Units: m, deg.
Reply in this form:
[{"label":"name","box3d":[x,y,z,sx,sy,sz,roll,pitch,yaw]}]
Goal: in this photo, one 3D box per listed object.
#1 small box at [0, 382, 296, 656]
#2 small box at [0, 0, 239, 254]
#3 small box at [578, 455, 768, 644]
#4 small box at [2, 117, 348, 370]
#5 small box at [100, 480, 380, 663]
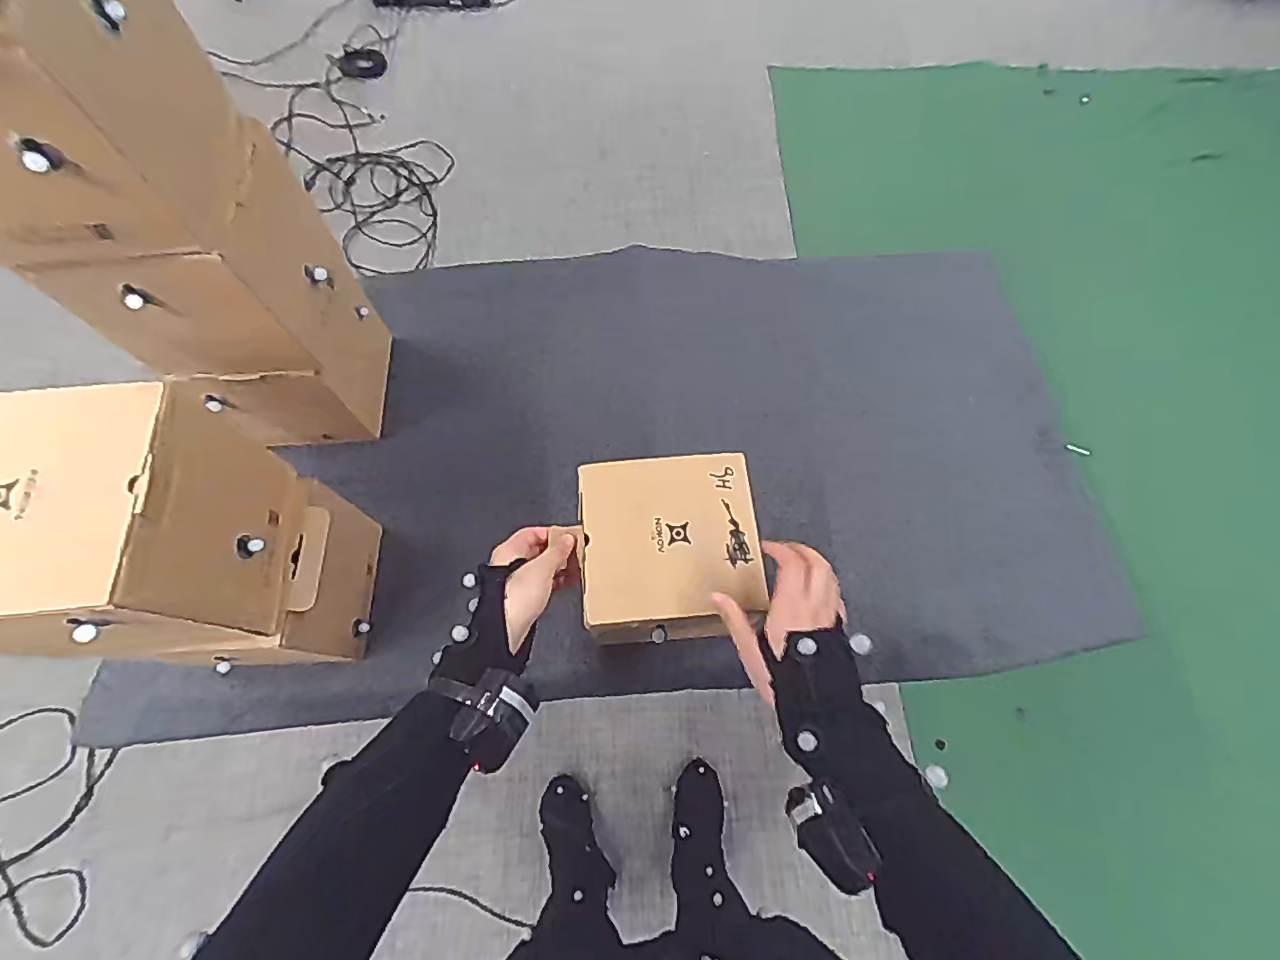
[{"label":"small box","box3d":[-0.417,0.042,0.432,0.179,0.176,0.168,-5,68,-4]},{"label":"small box","box3d":[-0.429,-0.282,0.385,0.168,0.176,0.179,-6,67,-5]},{"label":"small box","box3d":[0.031,0.086,0.601,0.179,0.176,0.168,-4,68,0]},{"label":"small box","box3d":[-0.427,-0.222,0.536,0.179,0.176,0.168,-2,69,-3]},{"label":"small box","box3d":[-0.407,0.105,0.582,0.179,0.176,0.168,-1,68,-2]}]
